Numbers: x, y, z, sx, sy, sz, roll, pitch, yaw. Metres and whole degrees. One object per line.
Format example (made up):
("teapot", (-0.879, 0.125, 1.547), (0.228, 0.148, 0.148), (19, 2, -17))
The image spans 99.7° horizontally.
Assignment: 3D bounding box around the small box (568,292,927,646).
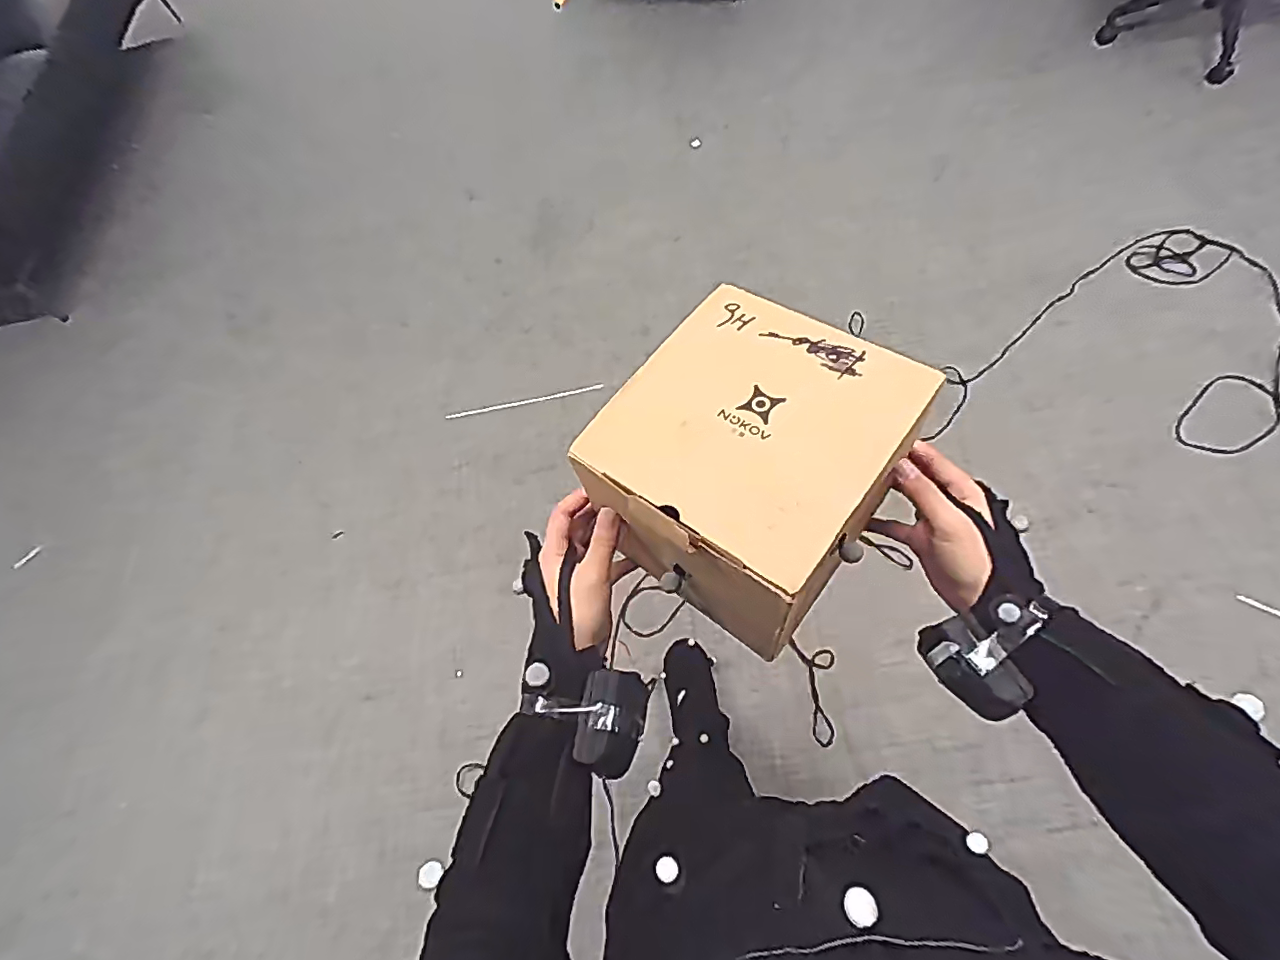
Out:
("small box", (0.079, 0.000, 0.414), (0.168, 0.176, 0.179), (33, 72, 24))
